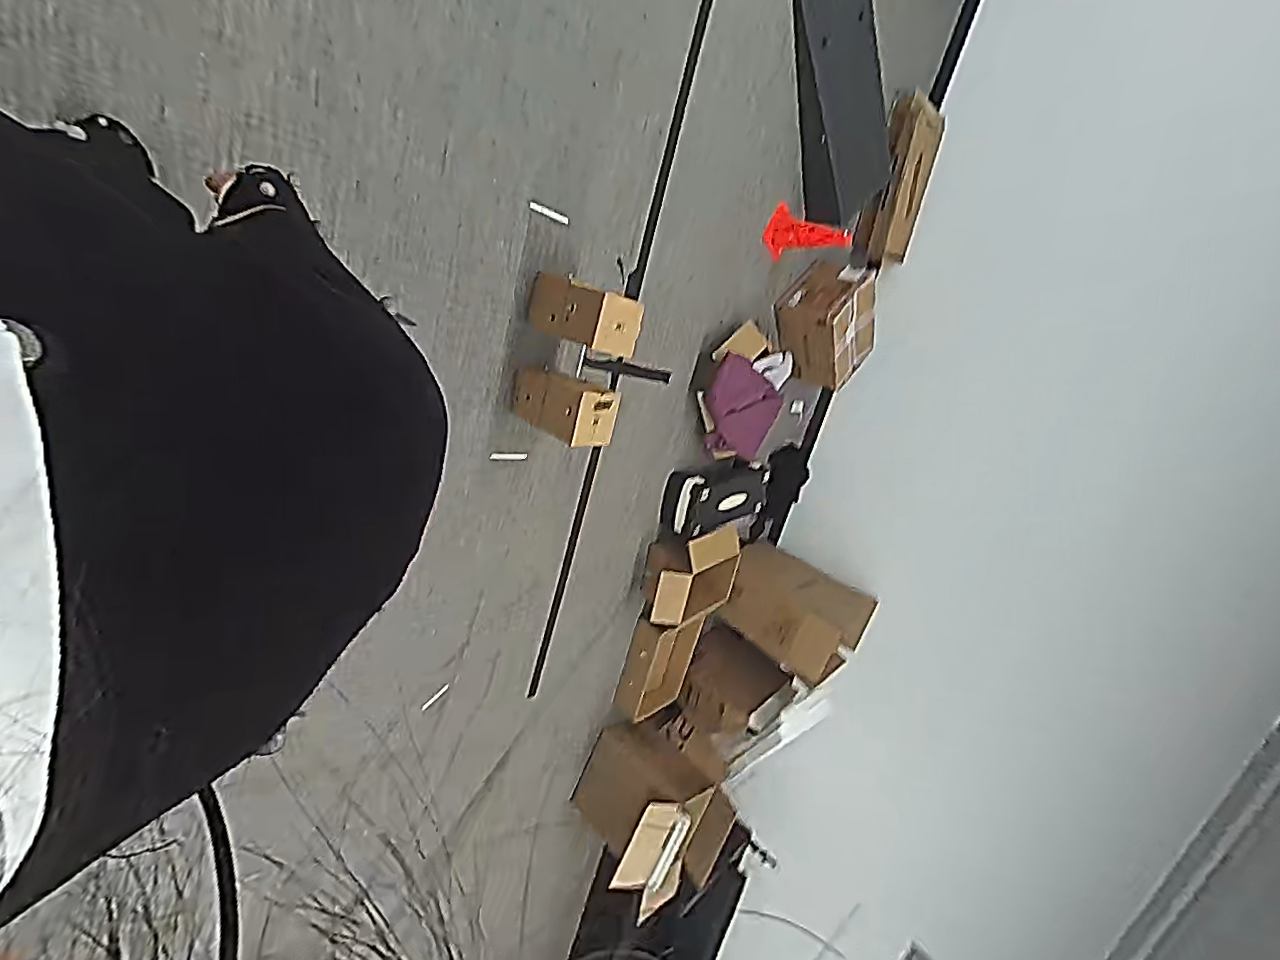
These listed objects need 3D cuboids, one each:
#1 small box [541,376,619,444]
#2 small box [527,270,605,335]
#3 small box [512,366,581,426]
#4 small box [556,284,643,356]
[{"bbox_3d":[-0.197,-0.227,1.734,0.168,0.176,0.179,-6,118,-48],"label":"small box"},{"bbox_3d":[-0.241,-0.559,1.745,0.168,0.176,0.179,-1,113,-50],"label":"small box"},{"bbox_3d":[-0.313,-0.284,1.838,0.179,0.176,0.168,-6,117,-47],"label":"small box"},{"bbox_3d":[-0.126,-0.490,1.653,0.179,0.176,0.168,-2,113,-48],"label":"small box"}]
